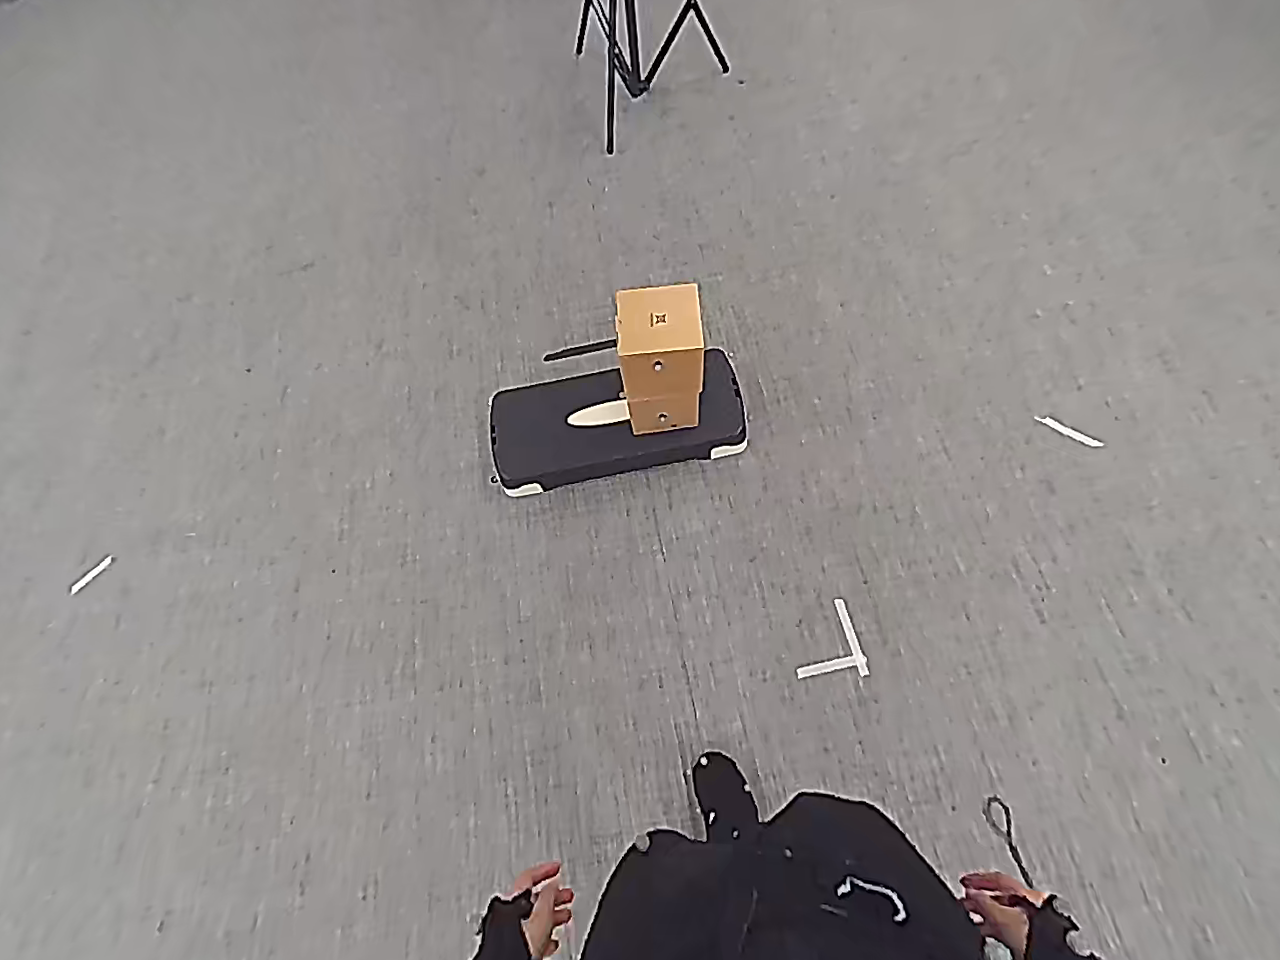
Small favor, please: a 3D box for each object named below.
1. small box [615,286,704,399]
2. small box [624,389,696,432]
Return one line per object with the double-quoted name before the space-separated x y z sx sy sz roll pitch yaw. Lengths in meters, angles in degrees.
"small box" 0.043 -0.293 1.177 0.179 0.176 0.168 -5 68 4
"small box" 0.047 -0.229 1.327 0.168 0.176 0.179 -7 67 2
